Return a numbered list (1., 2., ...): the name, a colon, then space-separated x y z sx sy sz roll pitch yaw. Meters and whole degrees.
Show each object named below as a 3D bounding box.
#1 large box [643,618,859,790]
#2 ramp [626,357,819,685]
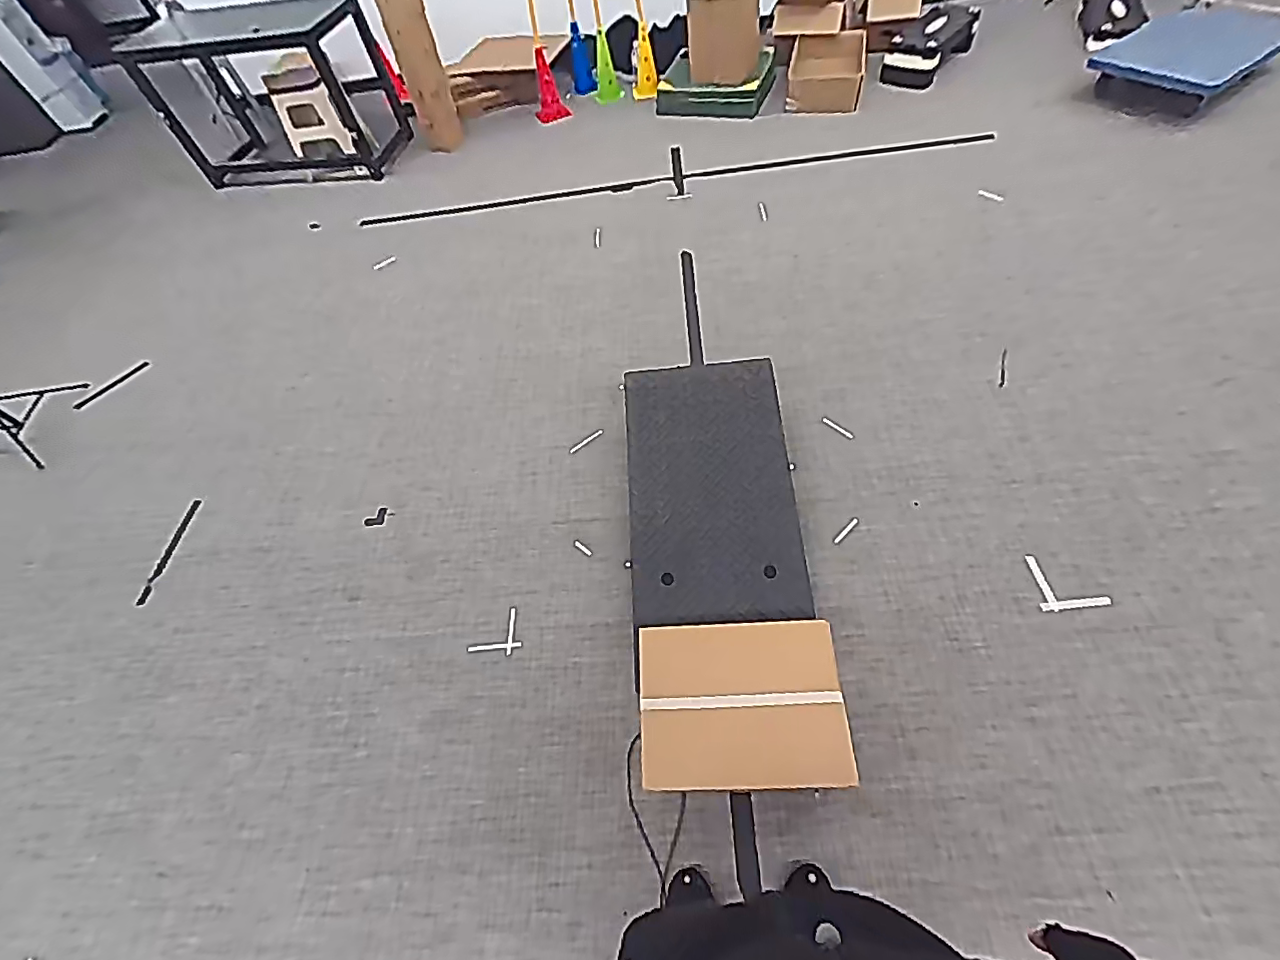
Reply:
1. large box: 0.228 0.517 1.225 0.408 0.320 0.320 -5 59 5
2. ramp: 0.220 0.070 1.610 0.509 0.206 0.991 -6 56 3
